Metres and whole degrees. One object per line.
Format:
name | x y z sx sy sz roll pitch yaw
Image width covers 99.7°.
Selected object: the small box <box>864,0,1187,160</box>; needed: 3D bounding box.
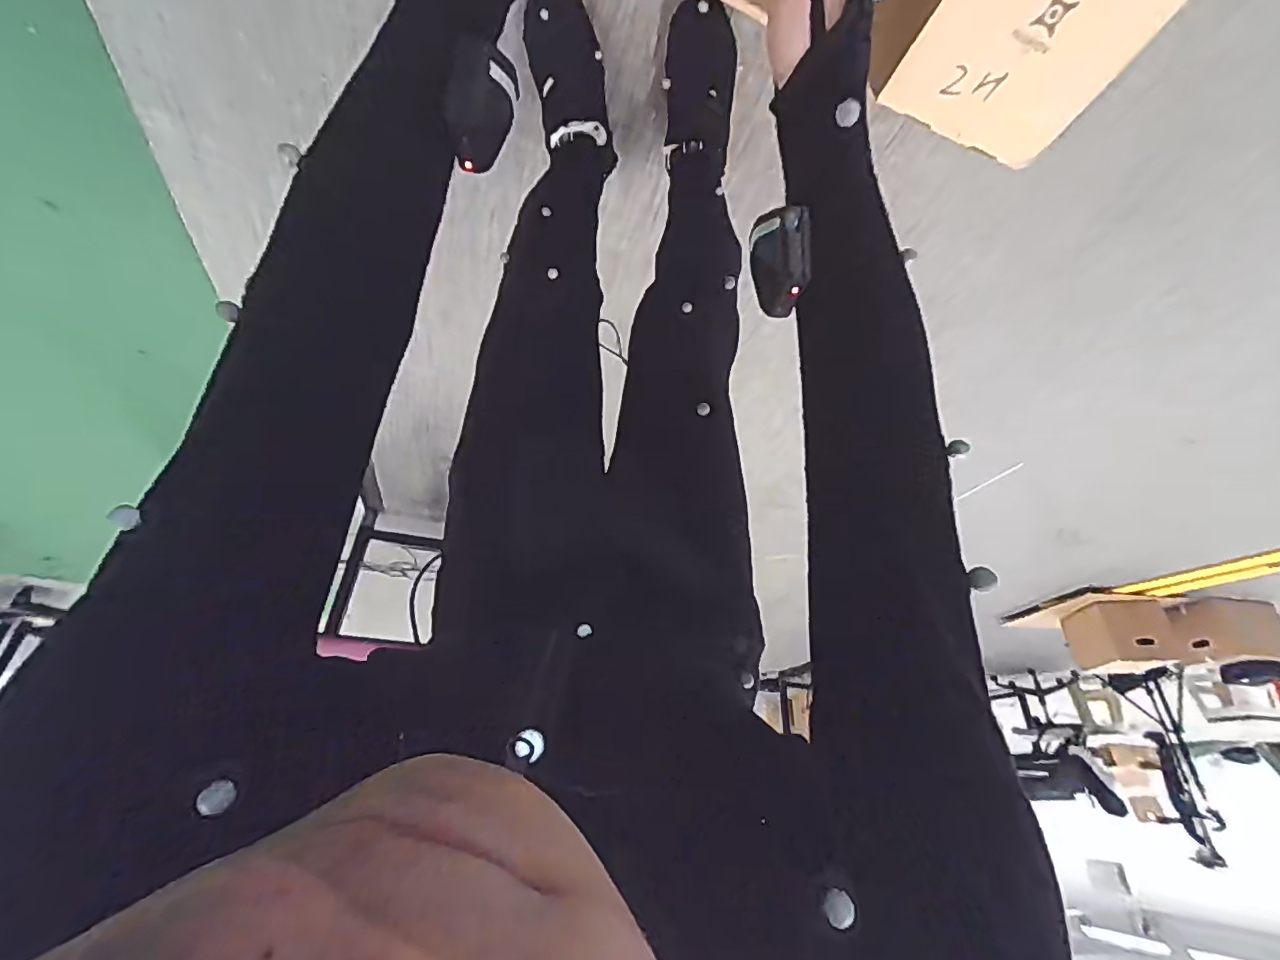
small box | 0.308 -0.414 0.437 0.168 0.176 0.179 14 148 -15
